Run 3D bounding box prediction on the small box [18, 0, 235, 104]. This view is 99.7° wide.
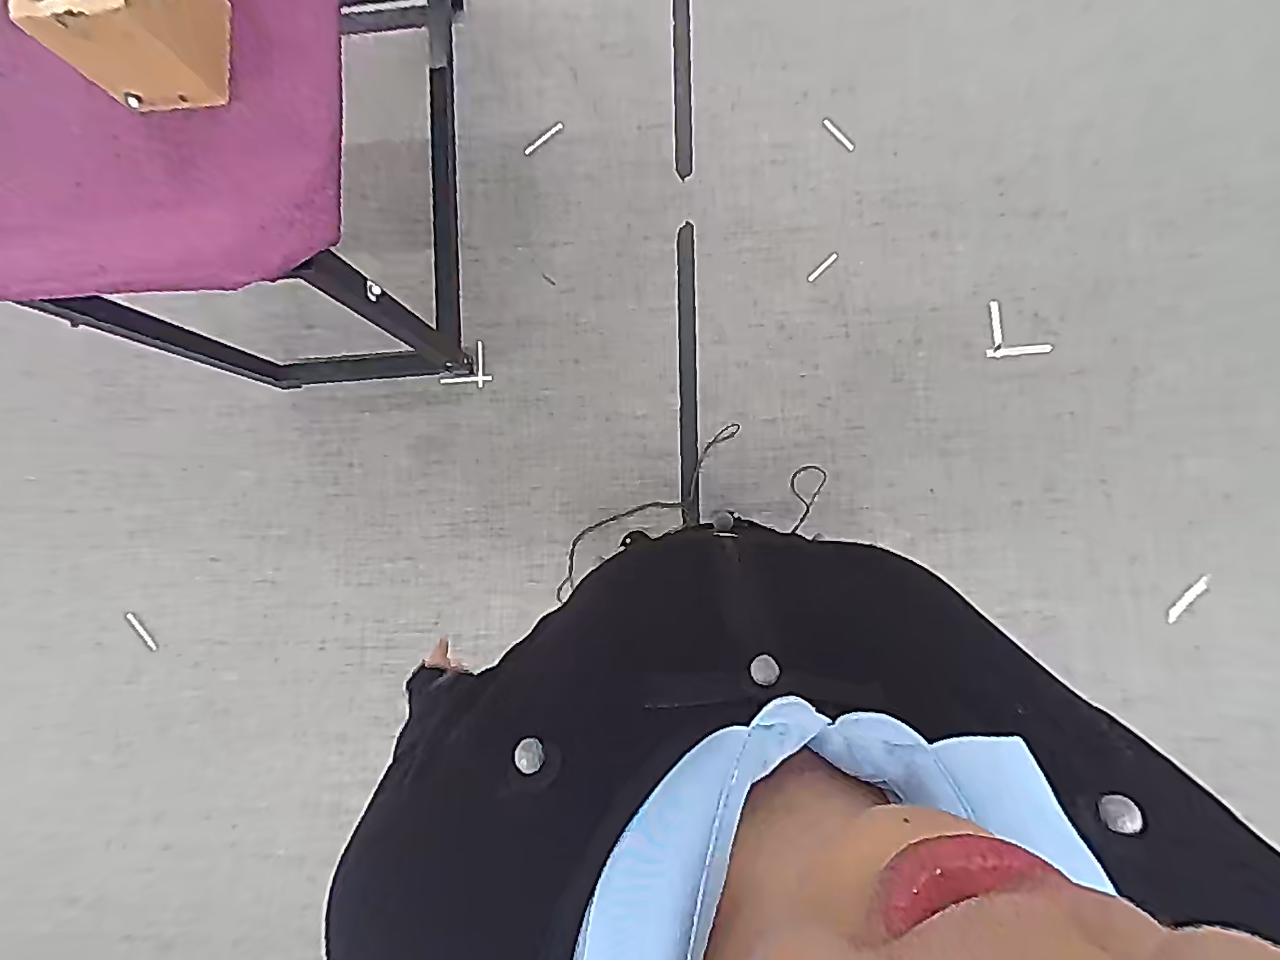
[{"bbox_3d":[-0.740,-0.690,0.797,0.168,0.176,0.179,-2,86,3],"label":"small box"}]
